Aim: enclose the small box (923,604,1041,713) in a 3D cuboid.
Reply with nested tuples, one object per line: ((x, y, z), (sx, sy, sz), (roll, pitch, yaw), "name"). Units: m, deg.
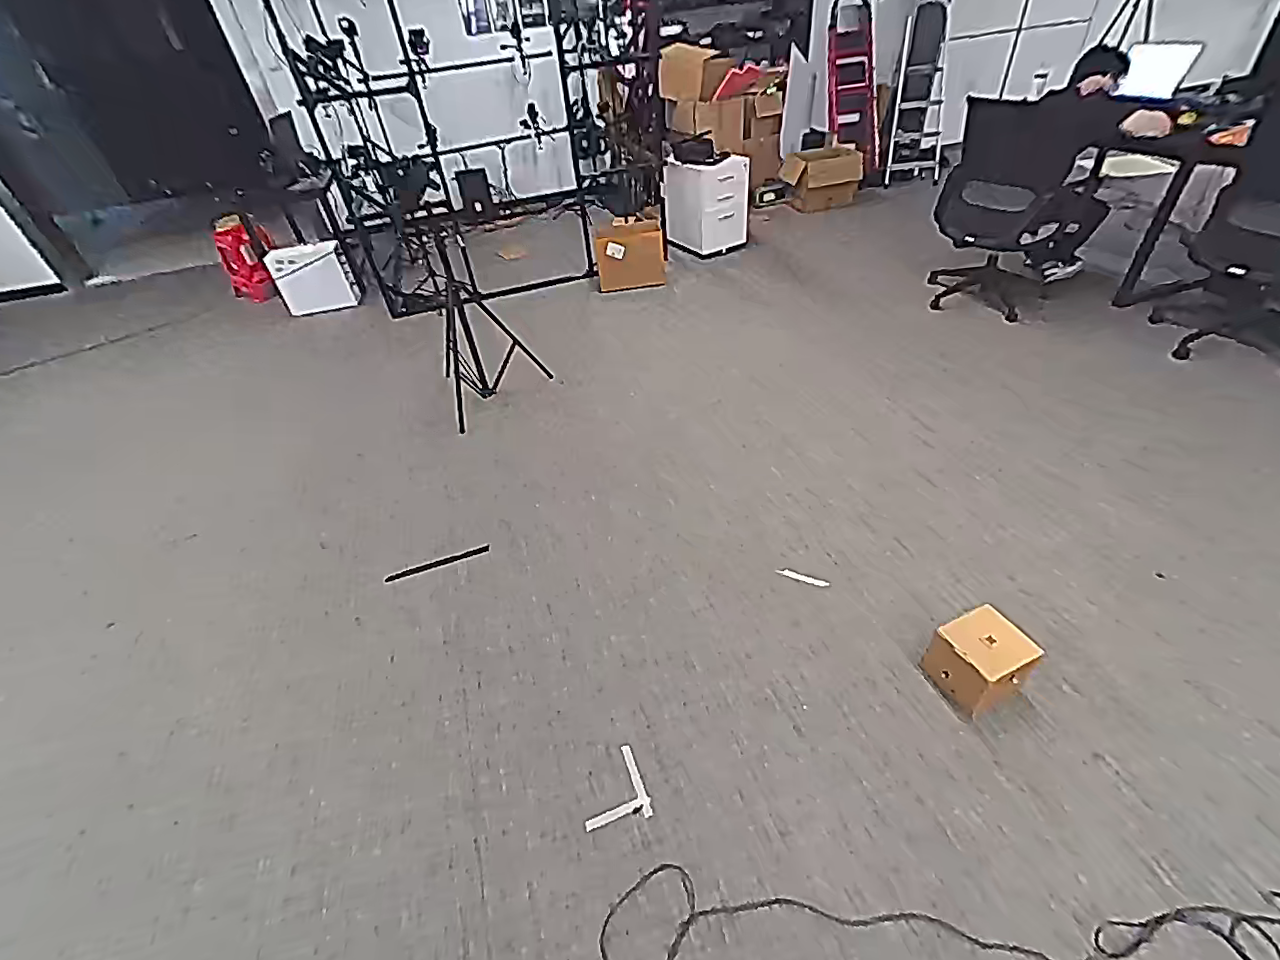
((0.862, 0.457, 1.384), (0.179, 0.176, 0.168), (-20, 42, -14), "small box")
